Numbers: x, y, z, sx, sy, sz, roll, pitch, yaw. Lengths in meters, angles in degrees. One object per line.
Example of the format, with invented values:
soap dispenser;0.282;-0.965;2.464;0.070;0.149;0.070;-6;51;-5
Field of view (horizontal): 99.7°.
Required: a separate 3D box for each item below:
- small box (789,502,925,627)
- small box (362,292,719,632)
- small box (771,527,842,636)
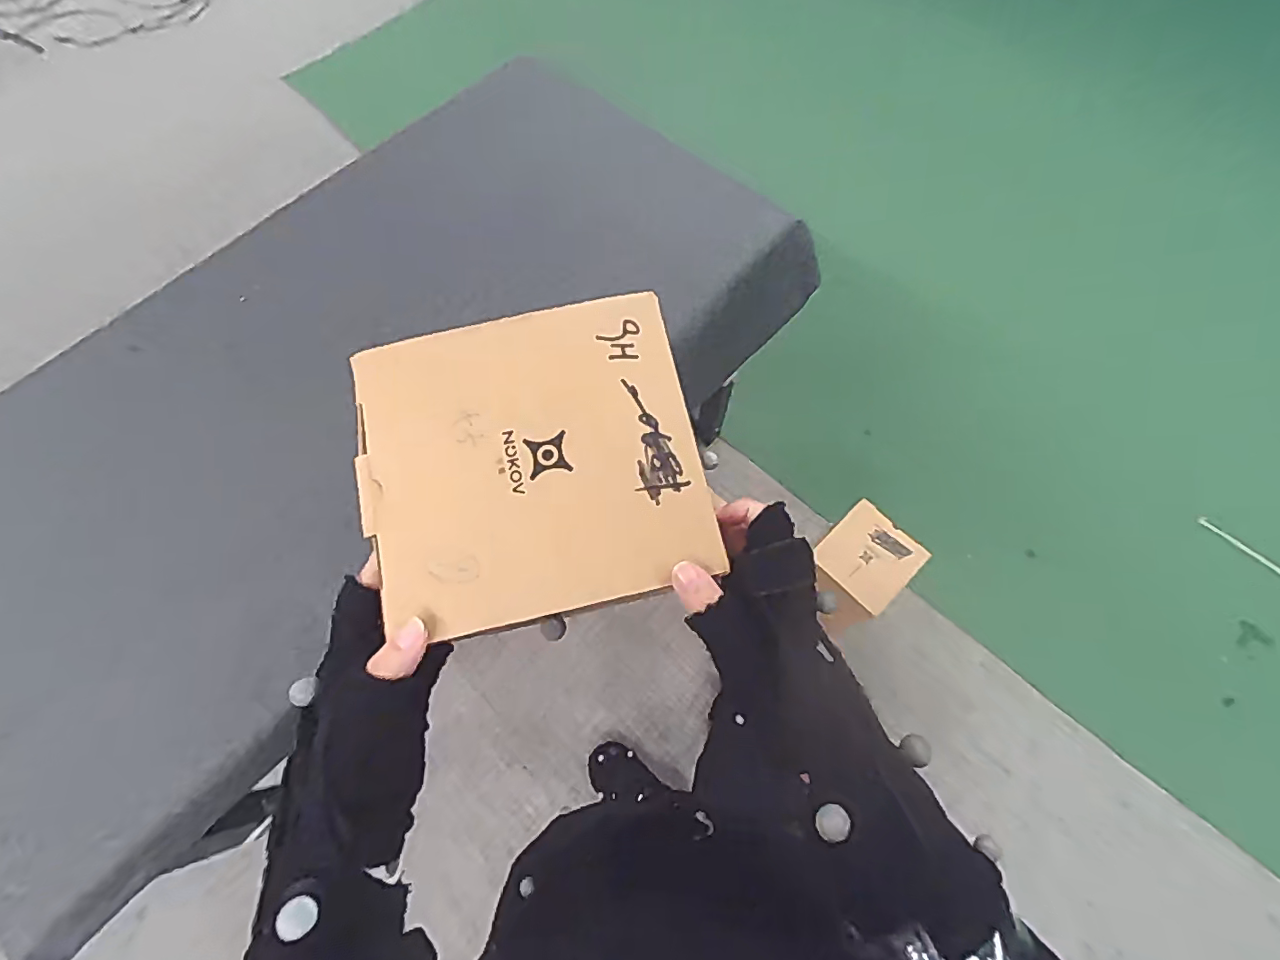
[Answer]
small box;0.435;0.180;1.118;0.179;0.176;0.168;-41;73;-14
small box;-0.057;0.004;0.368;0.179;0.176;0.168;-11;77;-2
small box;0.431;0.242;1.271;0.179;0.176;0.168;-42;73;-14
